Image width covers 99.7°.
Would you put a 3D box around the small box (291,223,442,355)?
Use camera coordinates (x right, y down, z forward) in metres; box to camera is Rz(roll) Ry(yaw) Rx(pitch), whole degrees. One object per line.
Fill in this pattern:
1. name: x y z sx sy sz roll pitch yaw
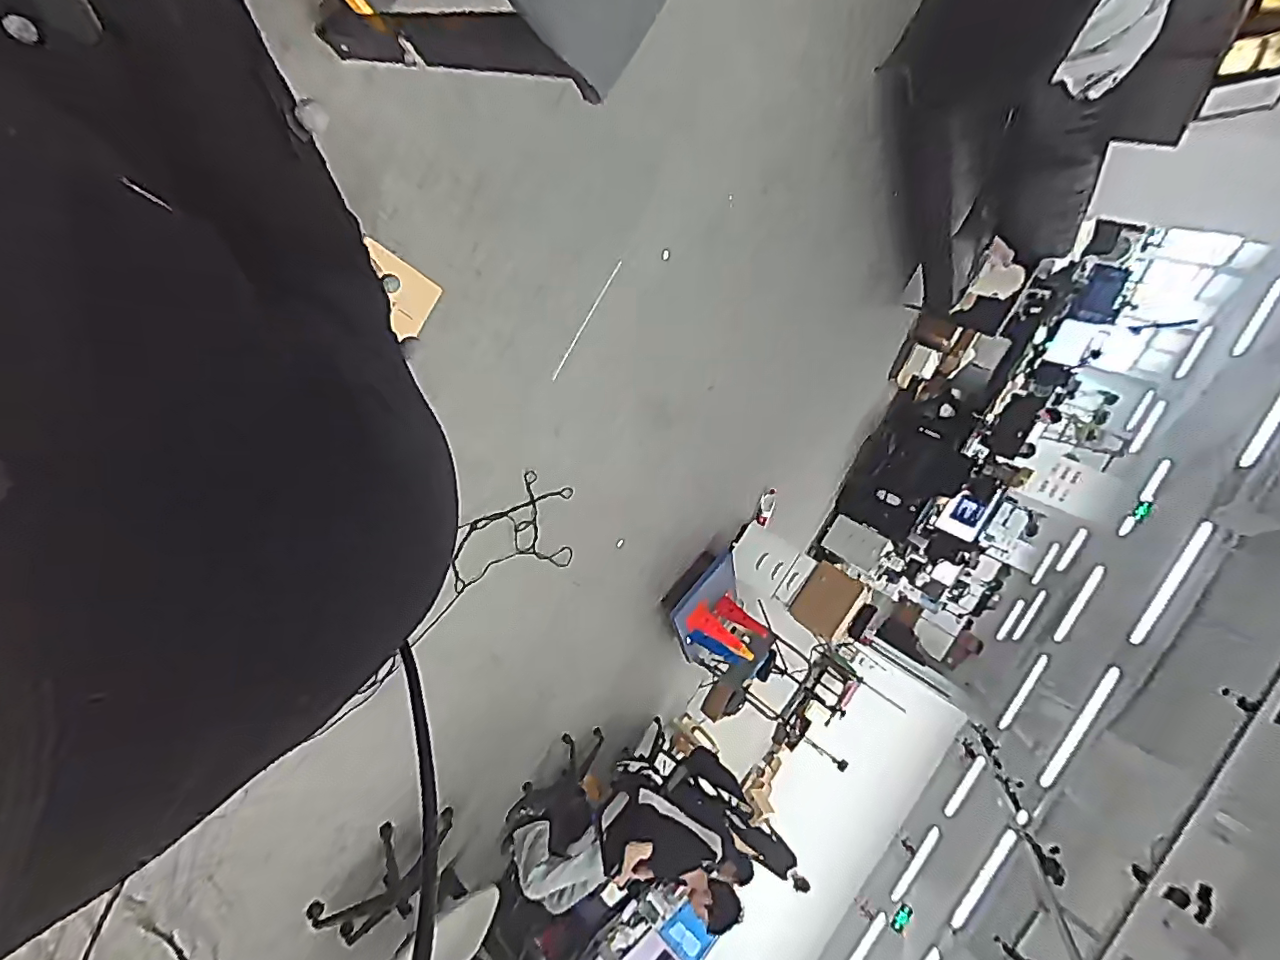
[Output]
1. small box: -0.535 -0.375 1.055 0.168 0.176 0.179 -59 149 1
